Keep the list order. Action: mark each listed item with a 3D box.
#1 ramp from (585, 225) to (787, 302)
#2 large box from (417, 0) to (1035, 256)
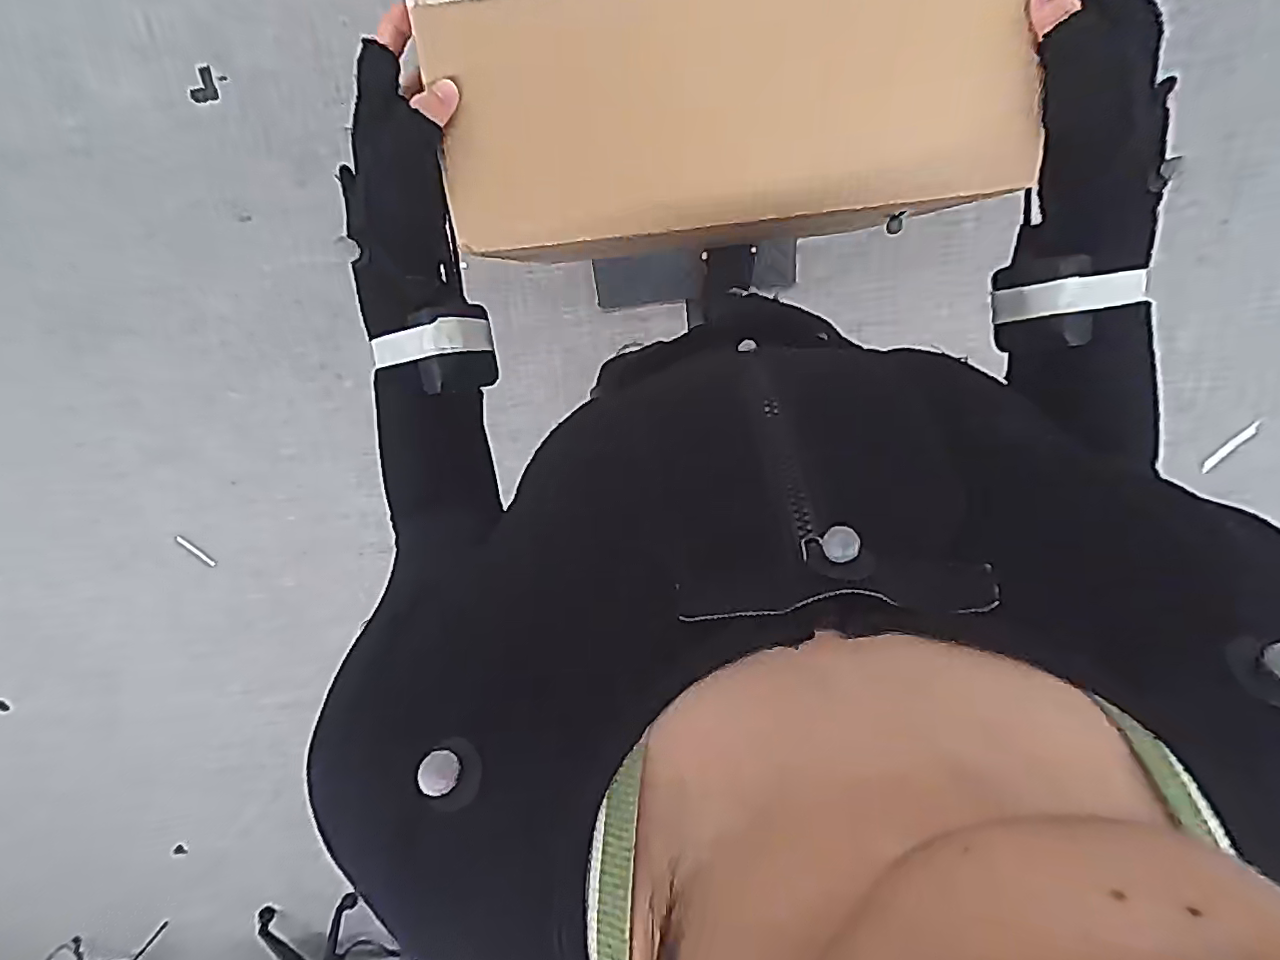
[{"bbox_3d":[0.059,-0.908,1.122,0.509,0.206,0.991,-7,108,5],"label":"ramp"},{"bbox_3d":[0.054,-0.387,0.476,0.408,0.320,0.320,-5,110,3],"label":"large box"}]
